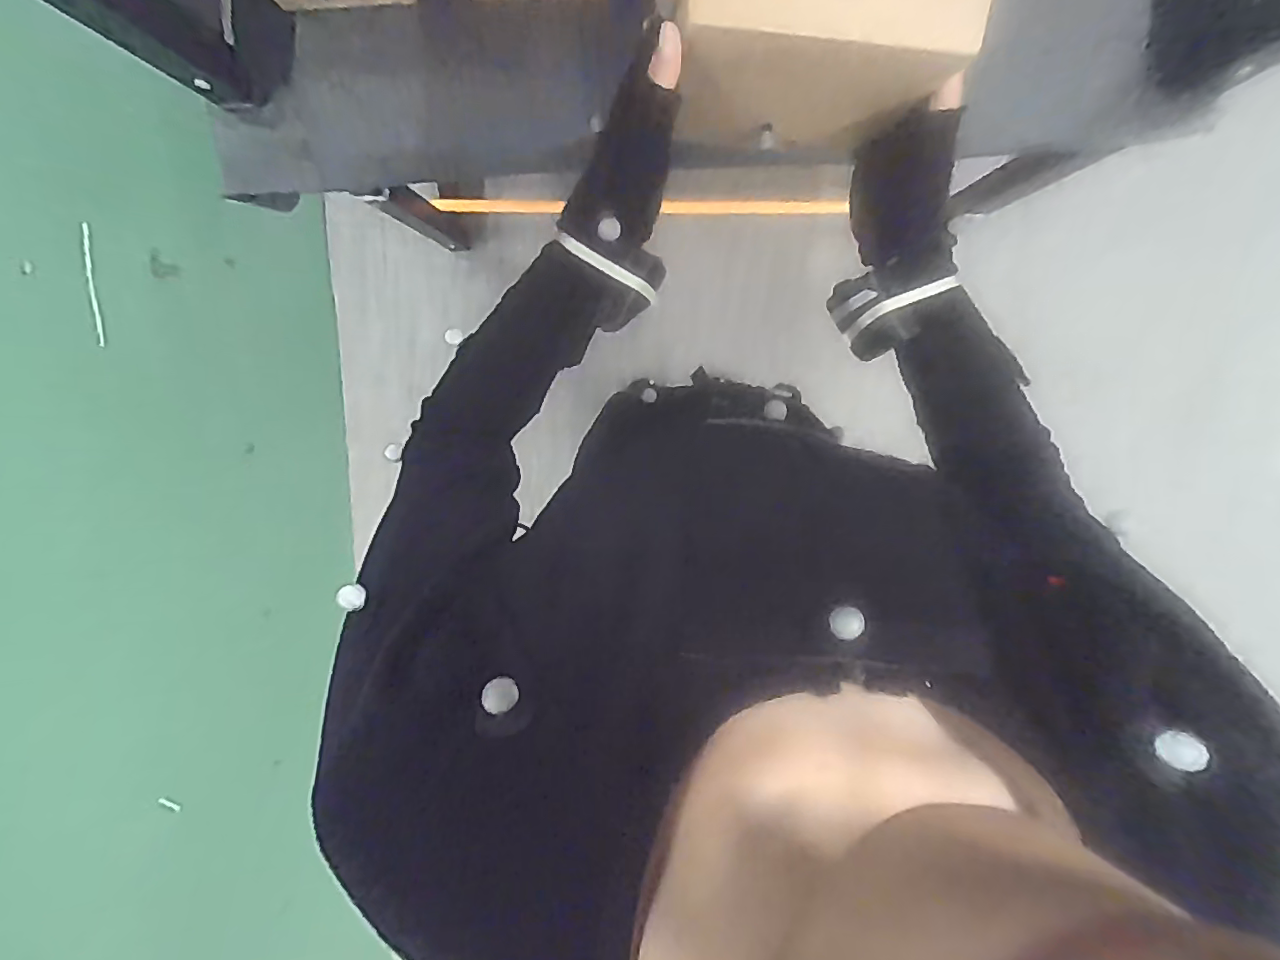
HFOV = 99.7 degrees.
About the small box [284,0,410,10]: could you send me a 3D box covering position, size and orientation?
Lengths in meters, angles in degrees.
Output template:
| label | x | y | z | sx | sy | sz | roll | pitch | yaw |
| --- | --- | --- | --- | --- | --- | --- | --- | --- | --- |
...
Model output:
| label | x | y | z | sx | sy | sz | roll | pitch | yaw |
| --- | --- | --- | --- | --- | --- | --- | --- | --- | --- |
| small box | -0.351 | -0.633 | 0.550 | 0.168 | 0.176 | 0.179 | -1 | 100 | 2 |
